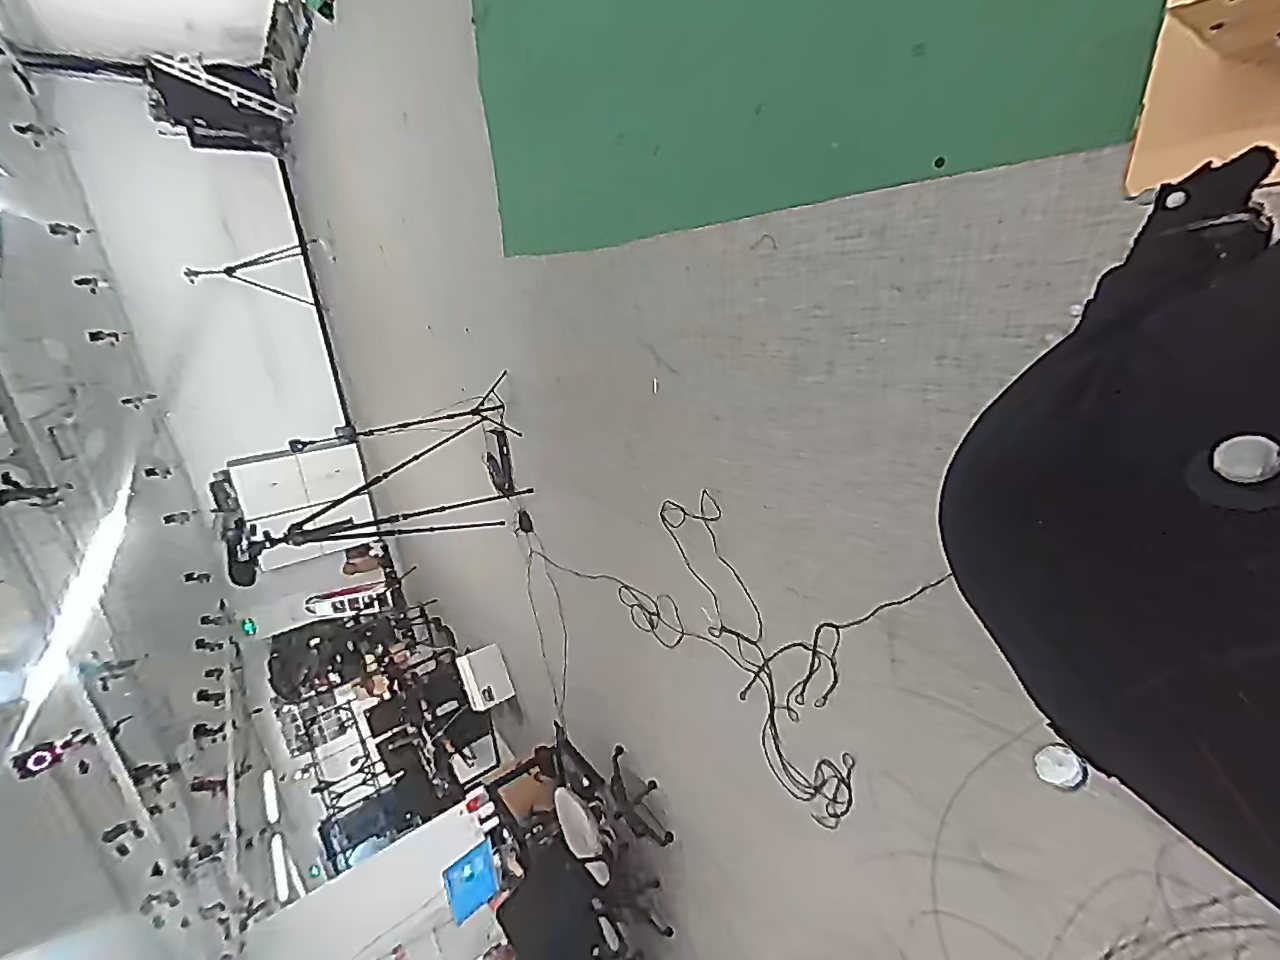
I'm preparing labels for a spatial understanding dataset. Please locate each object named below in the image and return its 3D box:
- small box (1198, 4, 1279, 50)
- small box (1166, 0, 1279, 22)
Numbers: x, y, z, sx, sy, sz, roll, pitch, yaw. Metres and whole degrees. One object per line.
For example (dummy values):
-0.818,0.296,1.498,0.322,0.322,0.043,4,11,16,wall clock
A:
0.974,-0.776,0.793,0.168,0.176,0.179,23,123,51,small box
0.841,-0.736,0.704,0.168,0.176,0.179,24,123,49,small box
